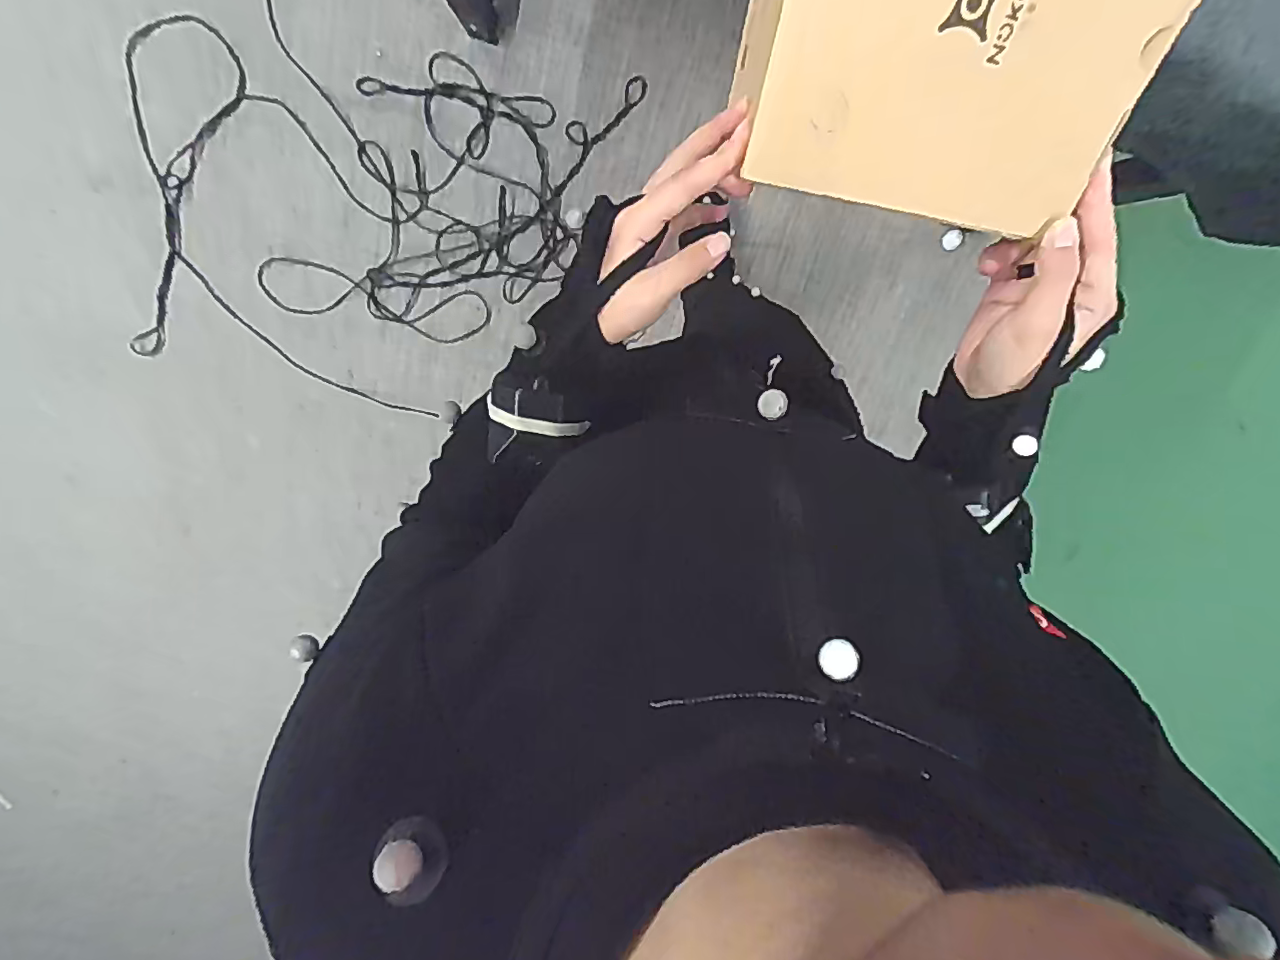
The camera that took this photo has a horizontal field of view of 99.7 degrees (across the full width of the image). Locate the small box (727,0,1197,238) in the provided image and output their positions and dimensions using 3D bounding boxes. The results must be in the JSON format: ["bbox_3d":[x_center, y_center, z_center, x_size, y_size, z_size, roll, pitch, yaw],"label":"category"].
[{"bbox_3d":[0.156,-0.250,0.305,0.179,0.176,0.168,9,122,-4],"label":"small box"}]
